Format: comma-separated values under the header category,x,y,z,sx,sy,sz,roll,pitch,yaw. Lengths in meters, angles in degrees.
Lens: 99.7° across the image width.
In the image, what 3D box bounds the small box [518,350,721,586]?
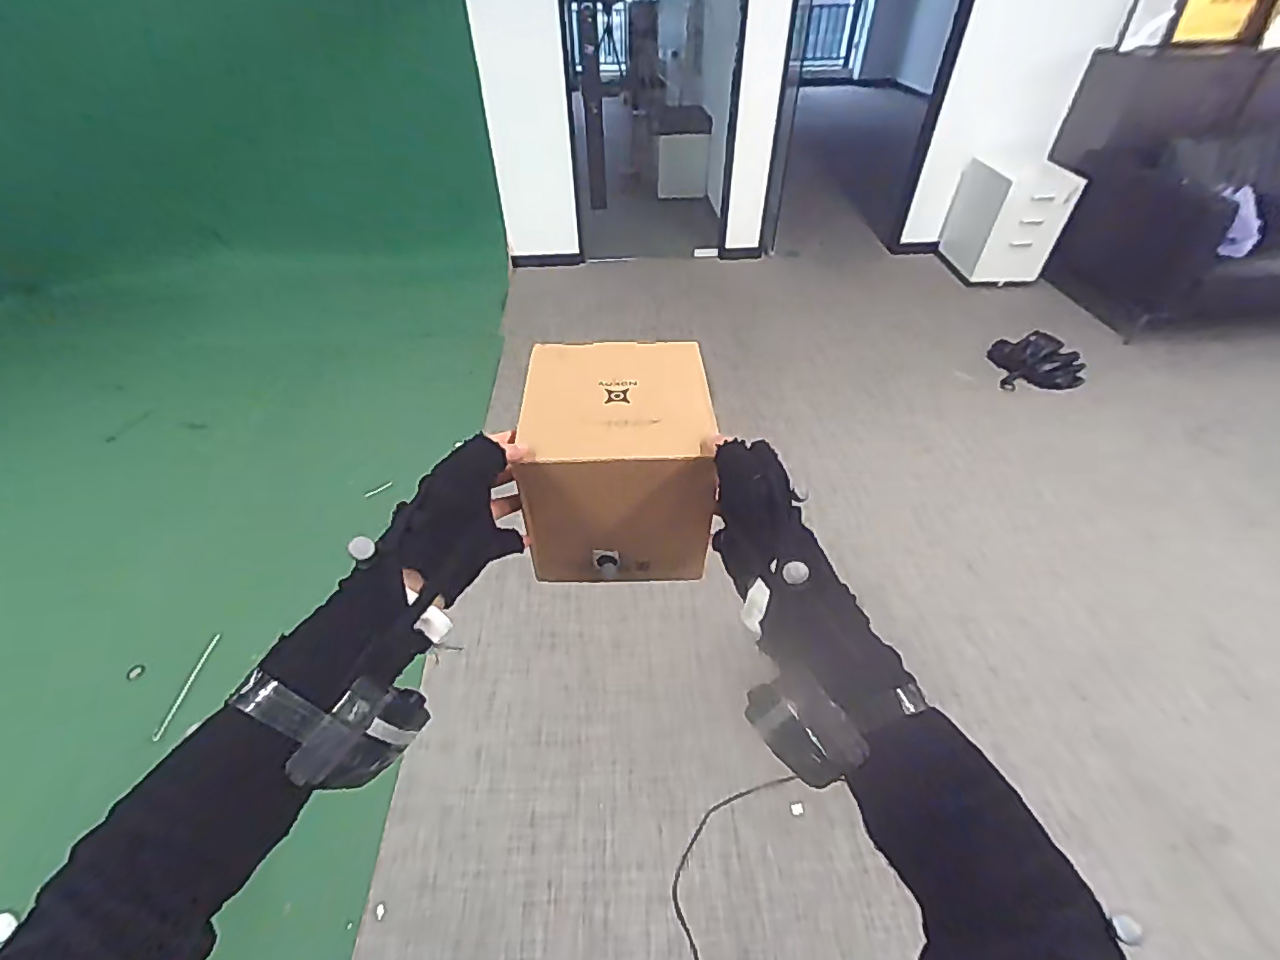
category,x,y,z,sx,sy,sz,roll,pitch,yaw
small box,-0.019,-0.014,0.543,0.168,0.176,0.179,-1,44,-2
